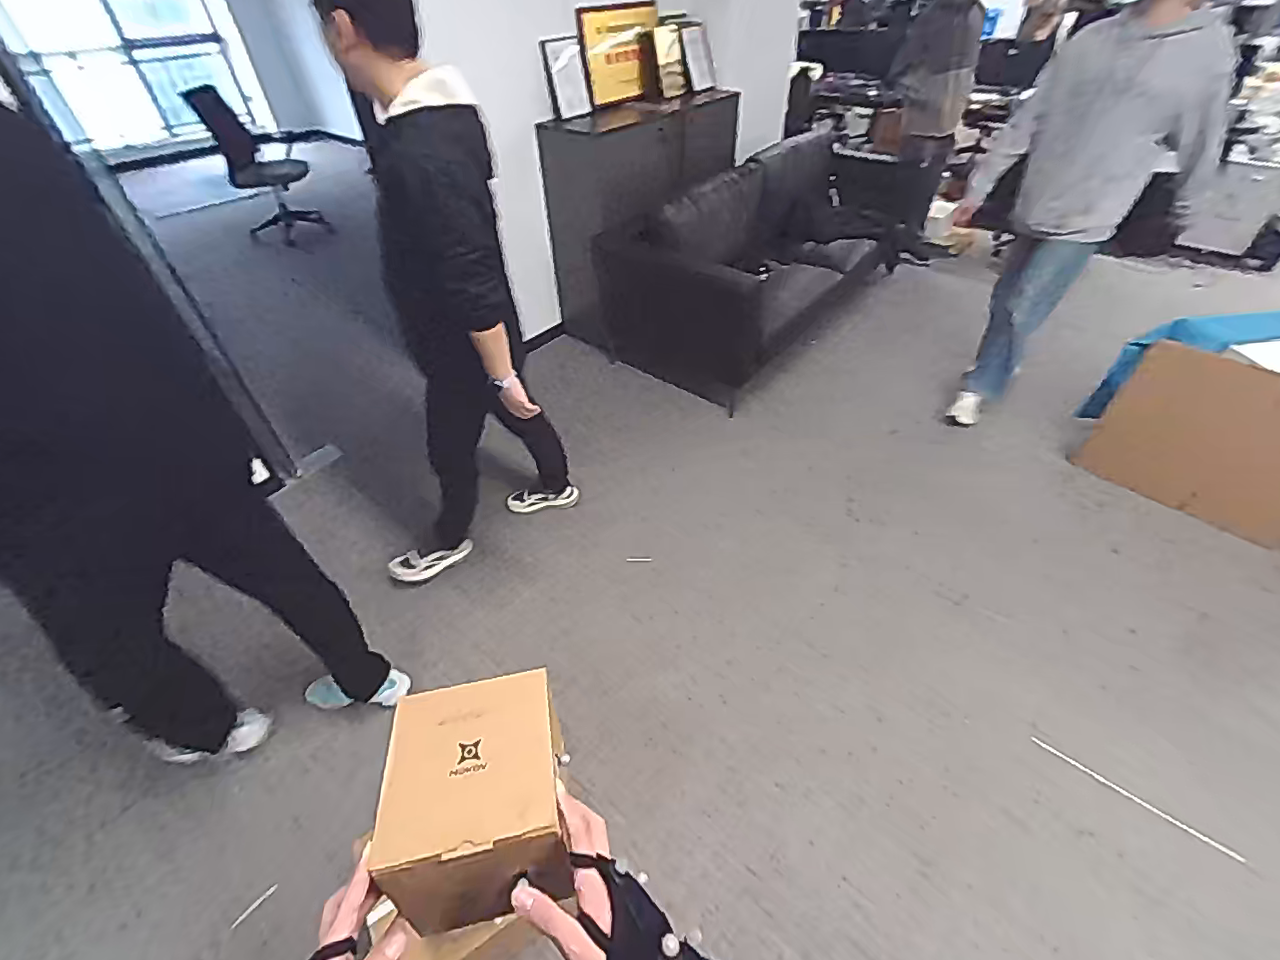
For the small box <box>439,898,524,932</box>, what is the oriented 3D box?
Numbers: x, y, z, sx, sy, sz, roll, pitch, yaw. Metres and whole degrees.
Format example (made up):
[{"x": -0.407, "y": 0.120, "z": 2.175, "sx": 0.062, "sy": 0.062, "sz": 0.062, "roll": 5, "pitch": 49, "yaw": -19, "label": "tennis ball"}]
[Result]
[{"x": -0.310, "y": 0.736, "z": 1.057, "sx": 0.168, "sy": 0.176, "sz": 0.179, "roll": -23, "pitch": 50, "yaw": -20, "label": "small box"}]

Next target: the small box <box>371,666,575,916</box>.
[{"x": -0.167, "y": 0.340, "z": 0.592, "sx": 0.168, "sy": 0.176, "sz": 0.179, "roll": -8, "pitch": 36, "yaw": -8, "label": "small box"}]
